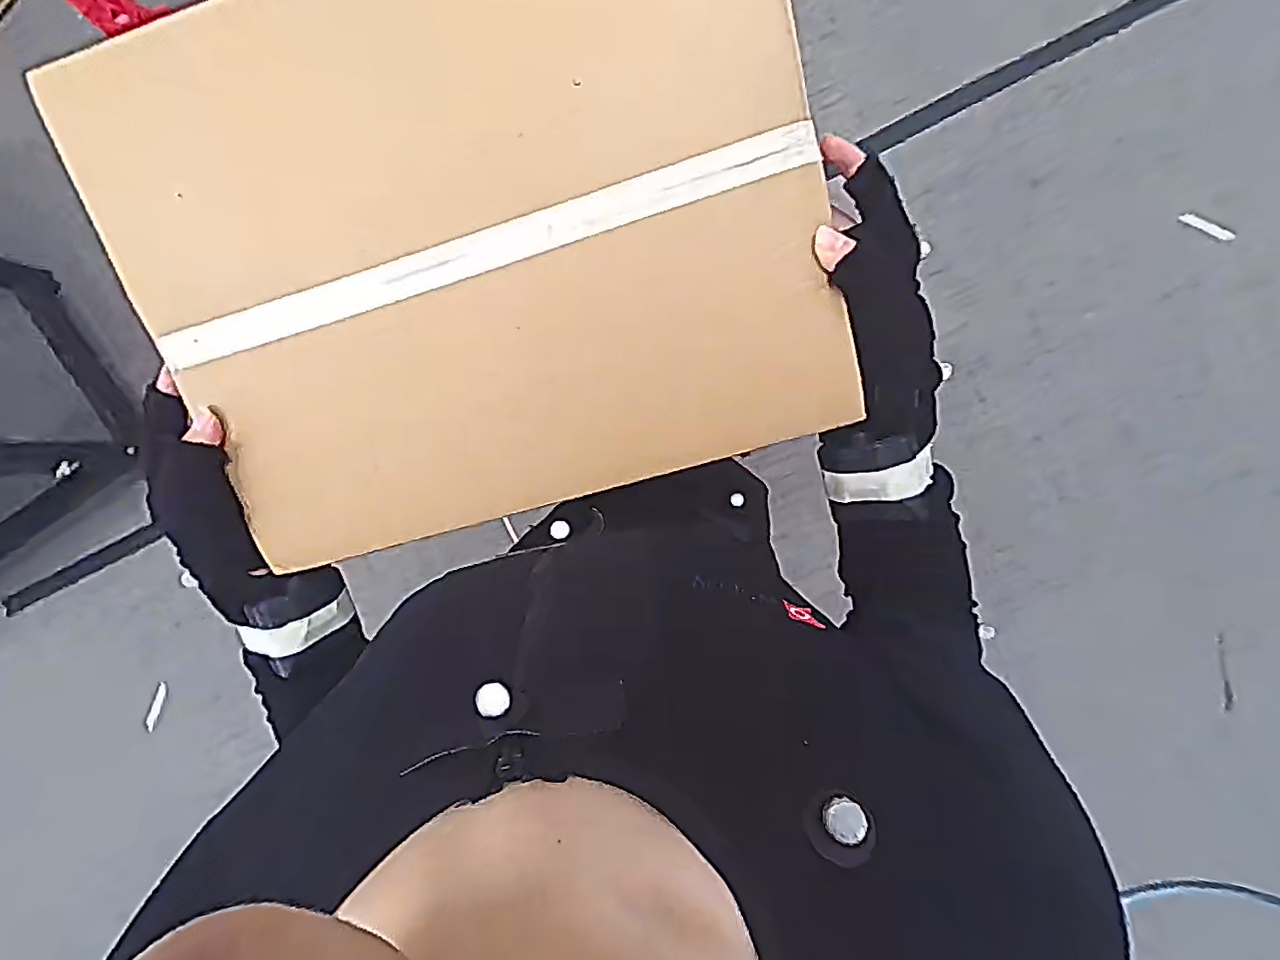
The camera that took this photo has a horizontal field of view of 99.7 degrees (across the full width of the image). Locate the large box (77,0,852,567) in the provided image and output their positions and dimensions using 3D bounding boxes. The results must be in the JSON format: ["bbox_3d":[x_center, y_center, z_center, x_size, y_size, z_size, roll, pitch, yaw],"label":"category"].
[{"bbox_3d":[-0.089,-0.170,0.469,0.408,0.320,0.320,-15,104,6],"label":"large box"}]
